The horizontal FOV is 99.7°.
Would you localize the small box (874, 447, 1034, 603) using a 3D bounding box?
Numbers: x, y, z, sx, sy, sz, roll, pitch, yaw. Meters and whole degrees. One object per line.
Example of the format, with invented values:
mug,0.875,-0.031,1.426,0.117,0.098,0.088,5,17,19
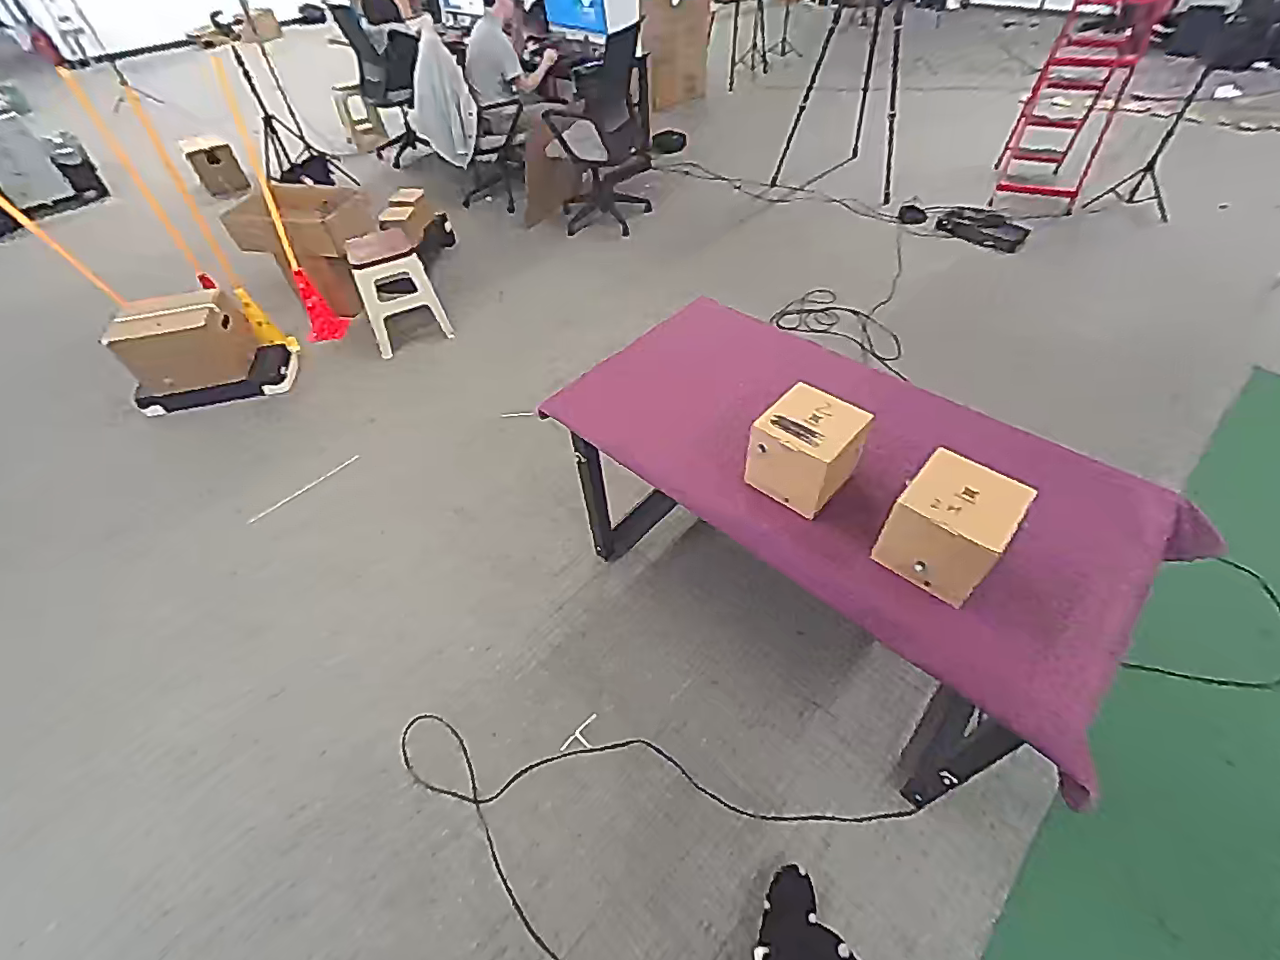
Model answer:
small box,0.545,0.080,0.961,0.168,0.176,0.179,34,58,29
